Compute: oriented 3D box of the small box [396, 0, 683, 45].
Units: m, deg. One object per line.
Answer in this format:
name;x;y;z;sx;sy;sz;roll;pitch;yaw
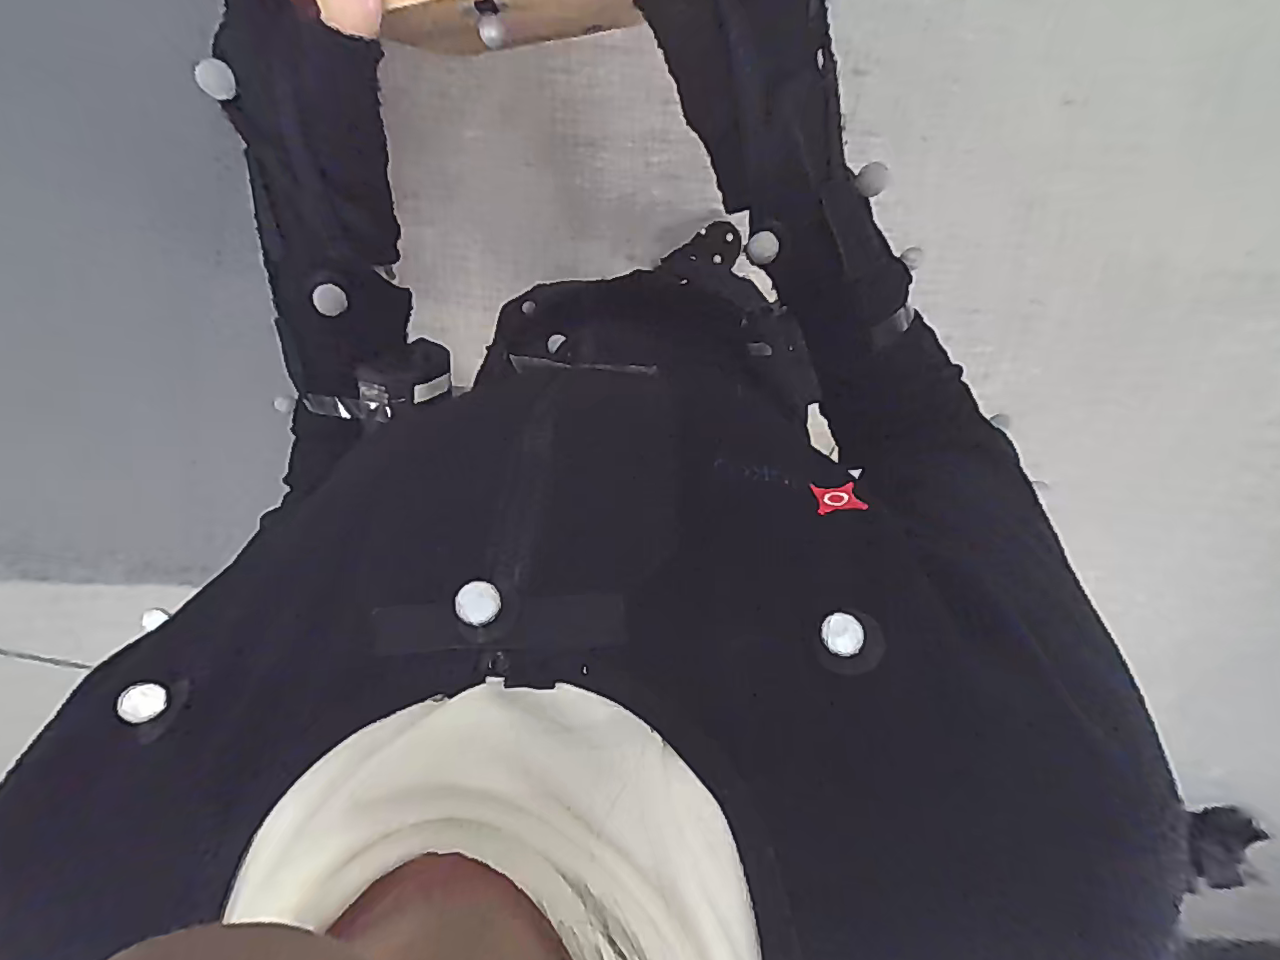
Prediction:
small box;-0.059;-0.323;0.237;0.168;0.176;0.179;-6;123;5
